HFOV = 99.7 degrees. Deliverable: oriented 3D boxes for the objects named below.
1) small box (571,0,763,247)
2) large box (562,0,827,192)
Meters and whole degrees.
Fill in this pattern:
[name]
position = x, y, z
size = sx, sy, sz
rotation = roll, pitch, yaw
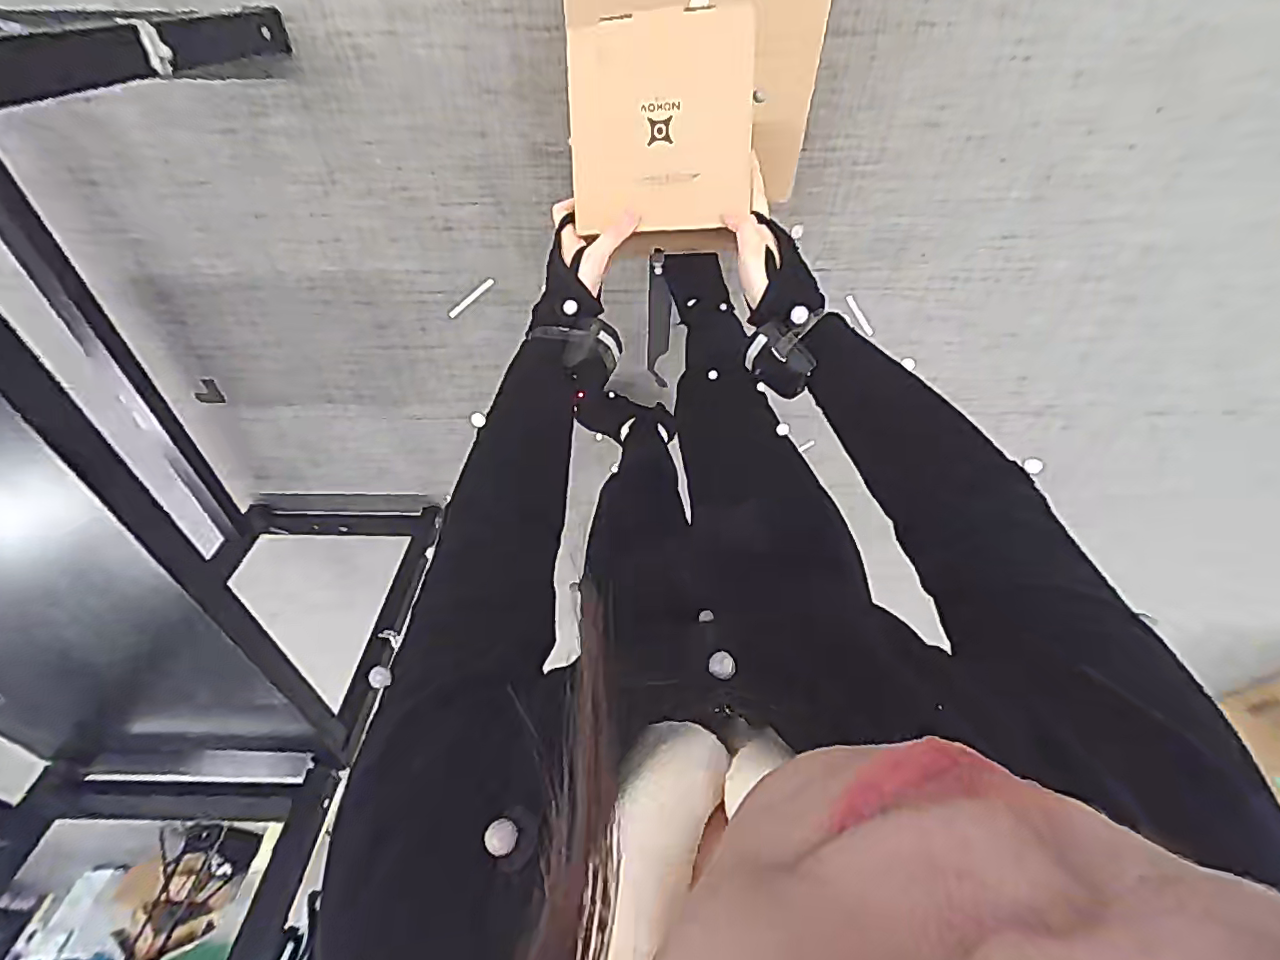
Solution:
[small box]
position = 0.031, -0.346, 0.551
size = 0.168, 0.176, 0.179
rotation = 2, 107, 9
[large box]
position = 0.066, -0.652, 0.736
size = 0.320, 0.320, 0.408
rotation = 1, 132, -1
